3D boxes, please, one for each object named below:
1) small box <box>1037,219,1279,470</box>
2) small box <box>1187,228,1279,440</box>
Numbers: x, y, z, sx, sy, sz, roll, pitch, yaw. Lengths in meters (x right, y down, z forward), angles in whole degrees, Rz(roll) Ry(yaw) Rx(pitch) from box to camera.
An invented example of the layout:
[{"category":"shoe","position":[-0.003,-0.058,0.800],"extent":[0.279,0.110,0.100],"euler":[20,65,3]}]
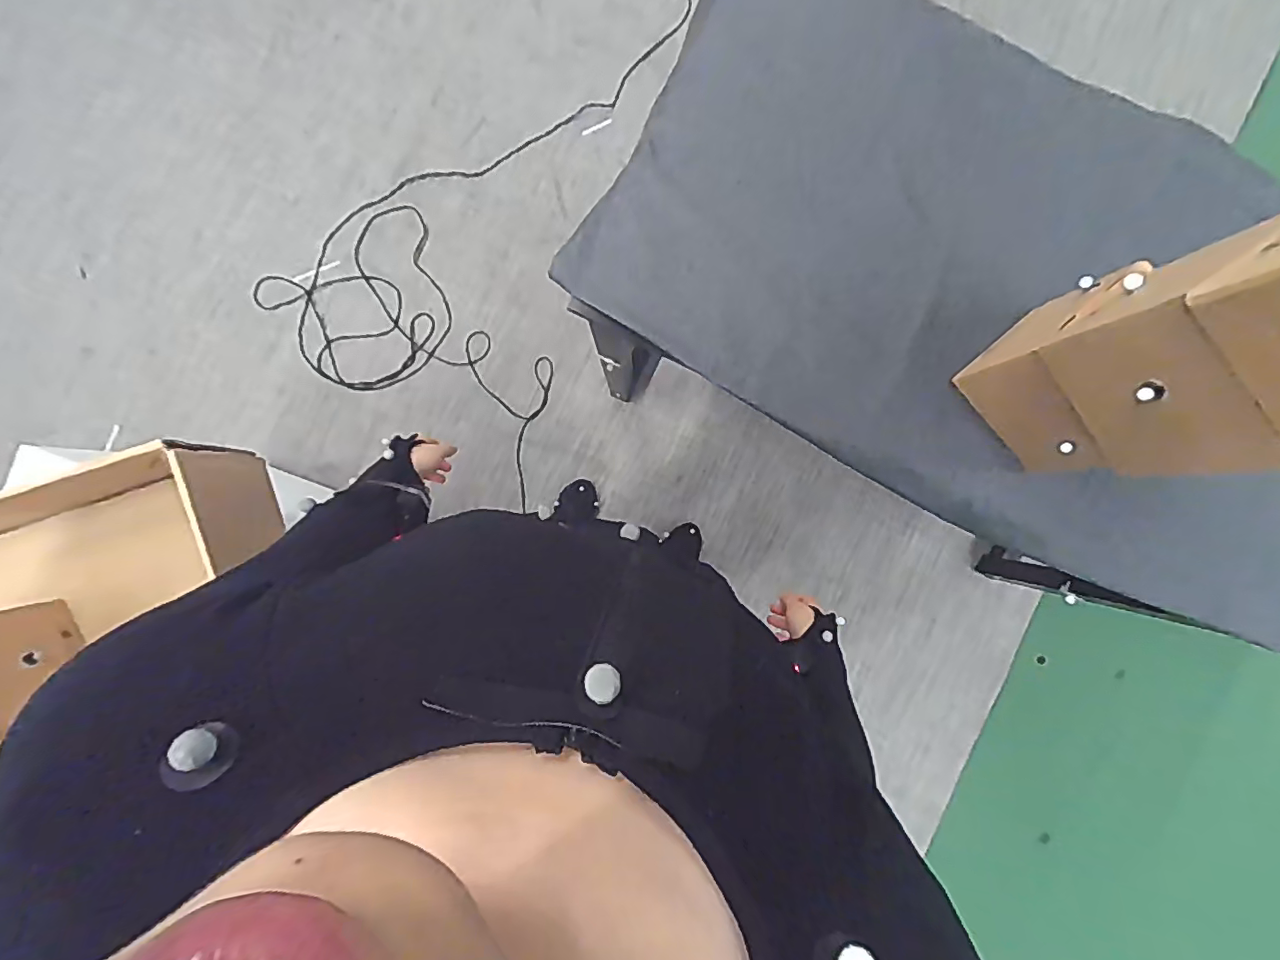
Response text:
[{"category":"small box","position":[0.555,-0.123,0.530],"extent":[0.168,0.176,0.179],"euler":[-33,88,-2]},{"category":"small box","position":[0.554,-0.130,0.368],"extent":[0.168,0.176,0.179],"euler":[-35,89,-2]}]
